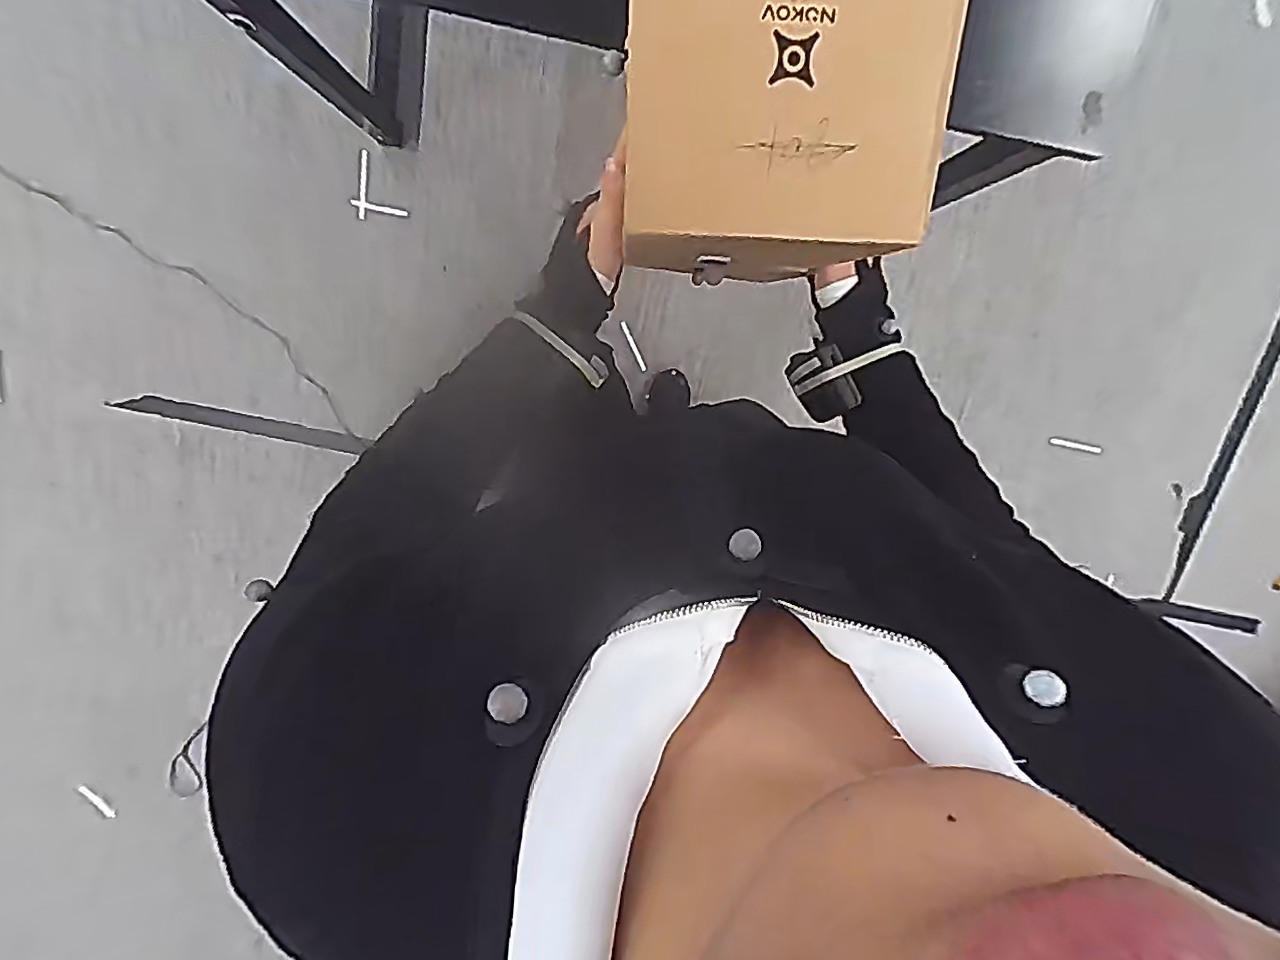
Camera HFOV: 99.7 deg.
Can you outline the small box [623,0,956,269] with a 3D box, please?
[{"bbox_3d":[0.074,-0.240,0.353,0.168,0.176,0.179,2,108,-1],"label":"small box"}]
